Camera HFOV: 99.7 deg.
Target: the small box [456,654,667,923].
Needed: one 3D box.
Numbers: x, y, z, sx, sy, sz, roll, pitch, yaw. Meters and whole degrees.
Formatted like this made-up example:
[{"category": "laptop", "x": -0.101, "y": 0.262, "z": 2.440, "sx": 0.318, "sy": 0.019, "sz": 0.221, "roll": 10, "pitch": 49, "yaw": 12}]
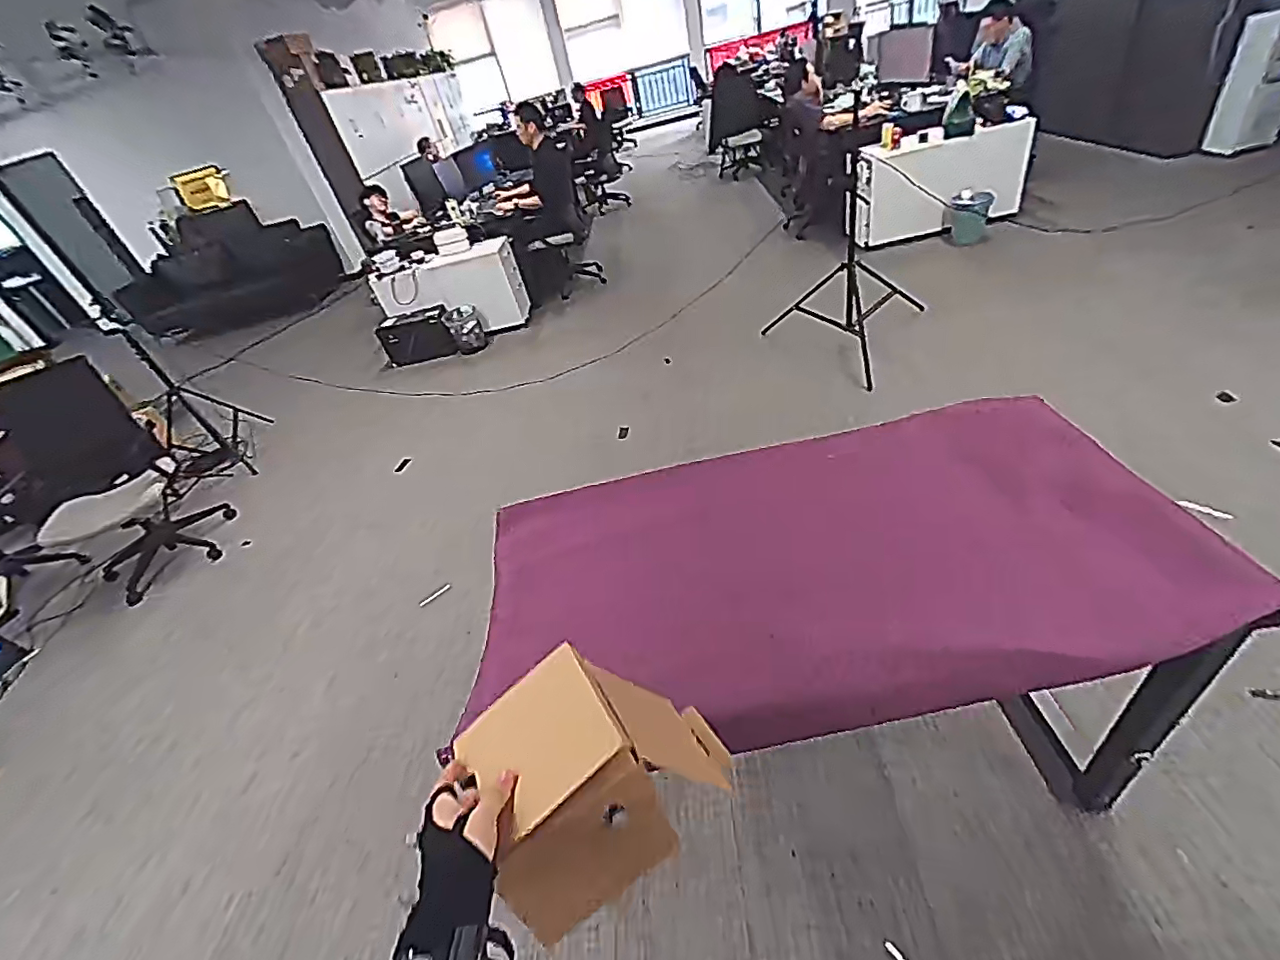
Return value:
[{"category": "small box", "x": -0.084, "y": 0.347, "z": 0.624, "sx": 0.179, "sy": 0.176, "sz": 0.168, "roll": -28, "pitch": 30, "yaw": -16}]
